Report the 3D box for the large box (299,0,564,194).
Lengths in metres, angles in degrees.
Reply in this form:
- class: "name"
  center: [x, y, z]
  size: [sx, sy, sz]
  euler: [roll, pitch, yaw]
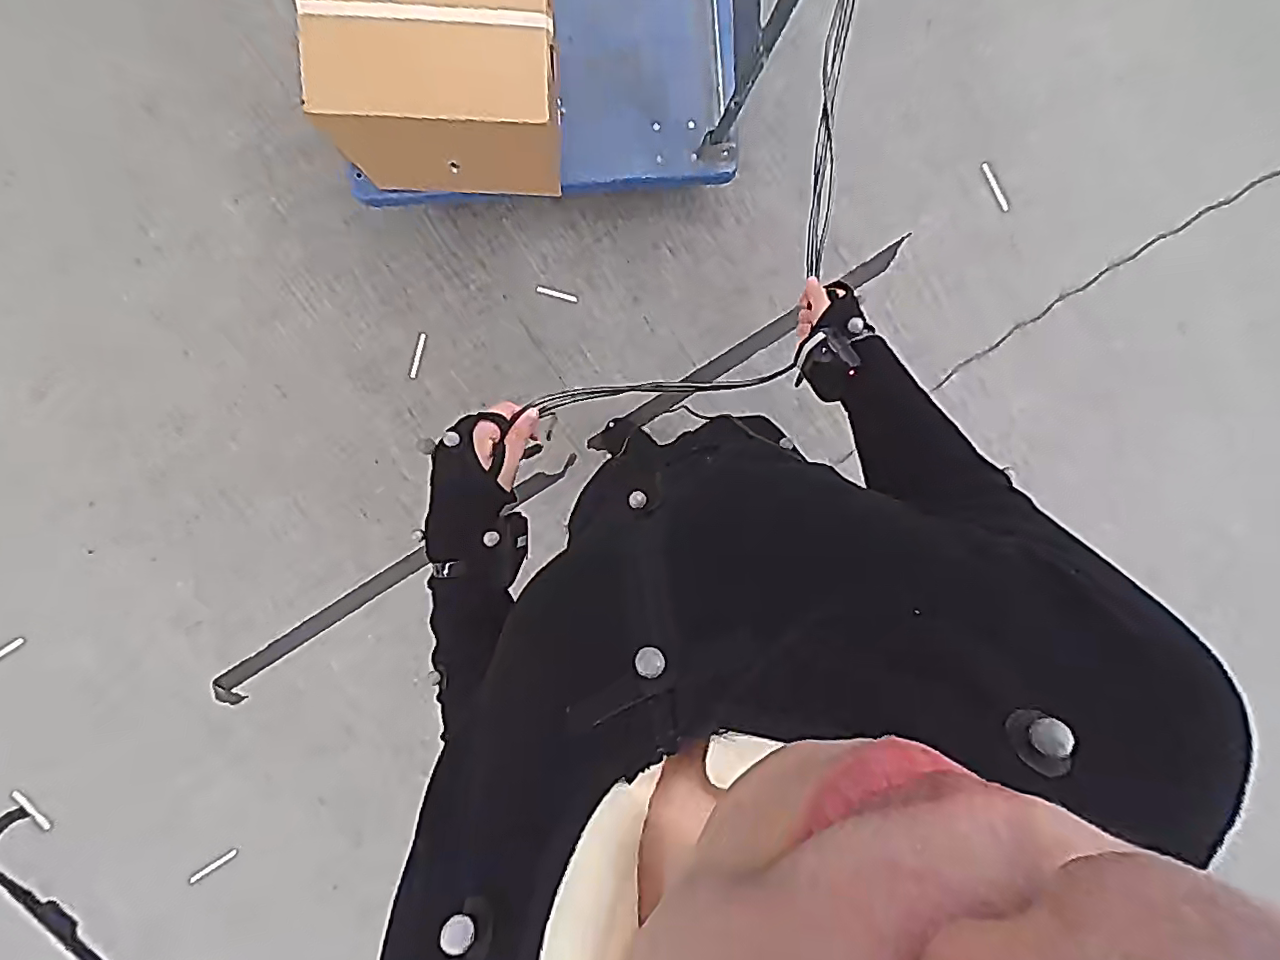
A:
- class: "large box"
  center: [-0.360, -0.767, 1.033]
  size: [0.408, 0.320, 0.320]
  euler: [0, 96, -4]
